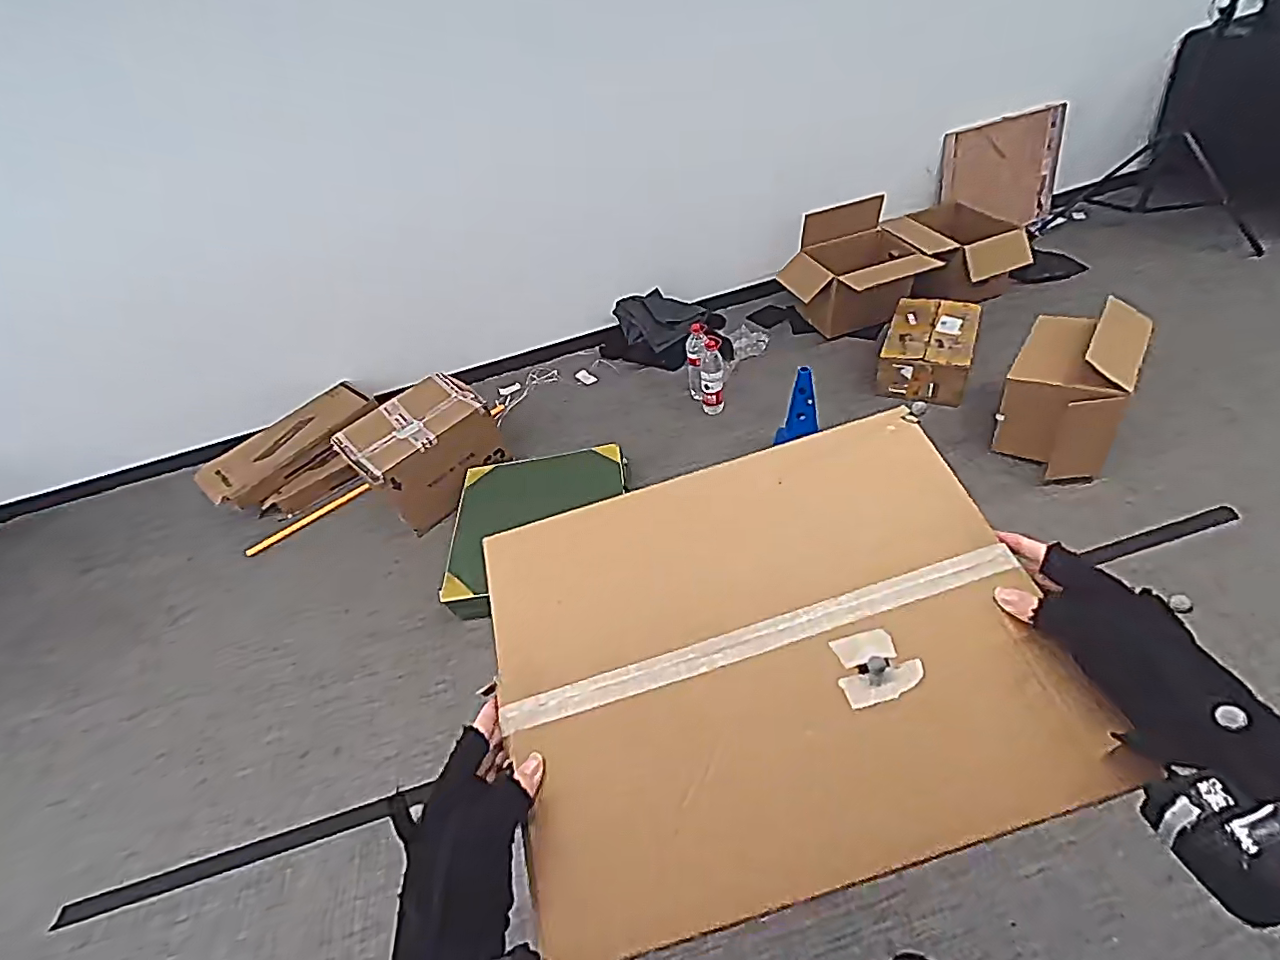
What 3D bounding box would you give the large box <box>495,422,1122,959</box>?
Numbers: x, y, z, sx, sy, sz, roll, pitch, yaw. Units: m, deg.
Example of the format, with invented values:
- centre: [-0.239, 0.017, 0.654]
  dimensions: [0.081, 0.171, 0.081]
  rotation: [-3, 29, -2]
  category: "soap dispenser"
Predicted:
- centre: [0.113, 0.204, 0.556]
  dimensions: [0.408, 0.320, 0.320]
  rotation: [-18, 59, -1]
  category: "large box"
